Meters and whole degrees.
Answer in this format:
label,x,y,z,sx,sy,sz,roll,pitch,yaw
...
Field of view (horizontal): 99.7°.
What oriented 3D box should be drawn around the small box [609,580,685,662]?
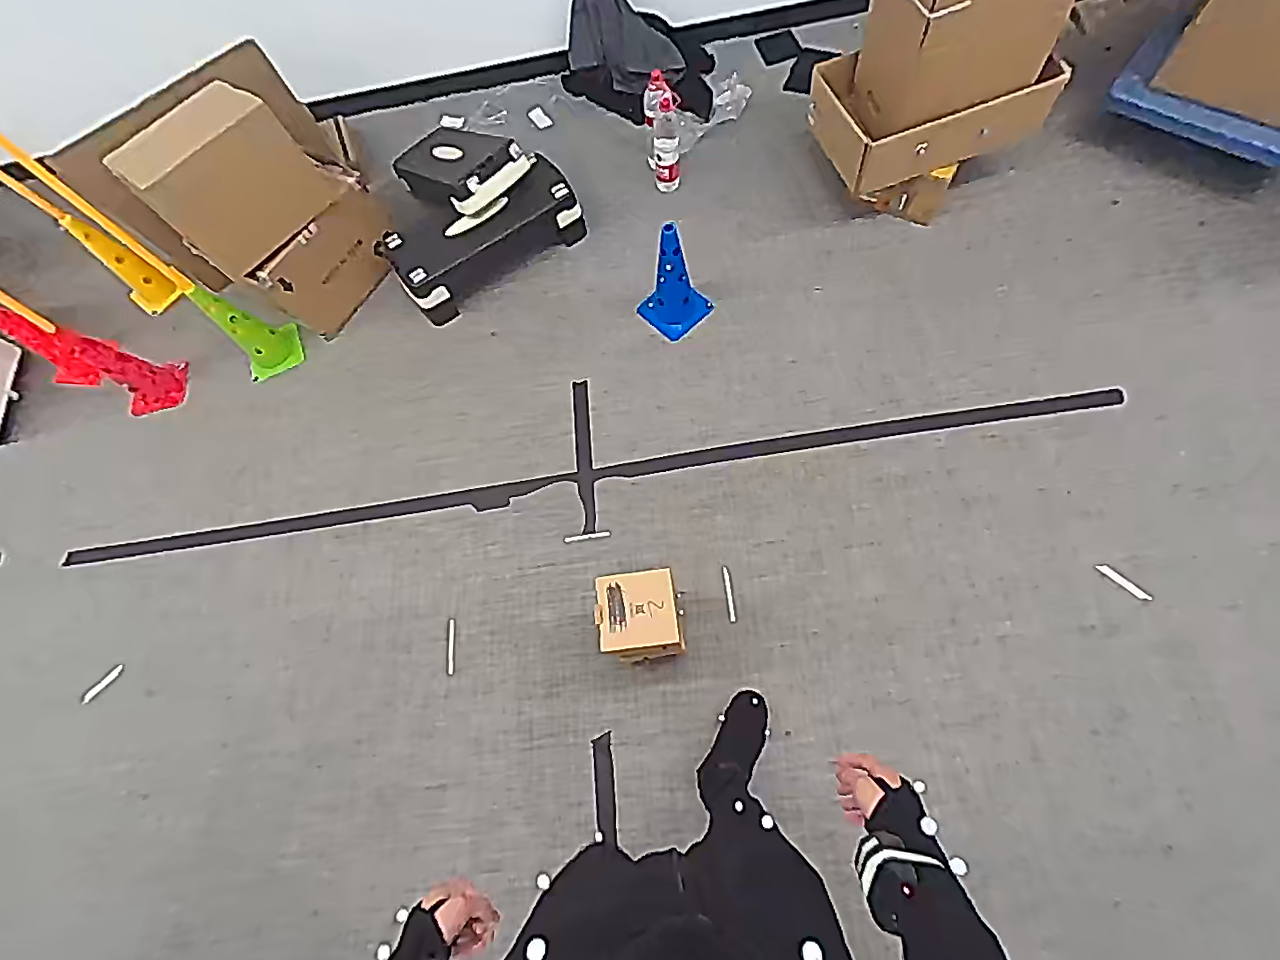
label,x,y,z,sx,sy,sz,roll,pitch,yaw
small box,0.022,0.375,1.417,0.168,0.176,0.179,-11,68,3
